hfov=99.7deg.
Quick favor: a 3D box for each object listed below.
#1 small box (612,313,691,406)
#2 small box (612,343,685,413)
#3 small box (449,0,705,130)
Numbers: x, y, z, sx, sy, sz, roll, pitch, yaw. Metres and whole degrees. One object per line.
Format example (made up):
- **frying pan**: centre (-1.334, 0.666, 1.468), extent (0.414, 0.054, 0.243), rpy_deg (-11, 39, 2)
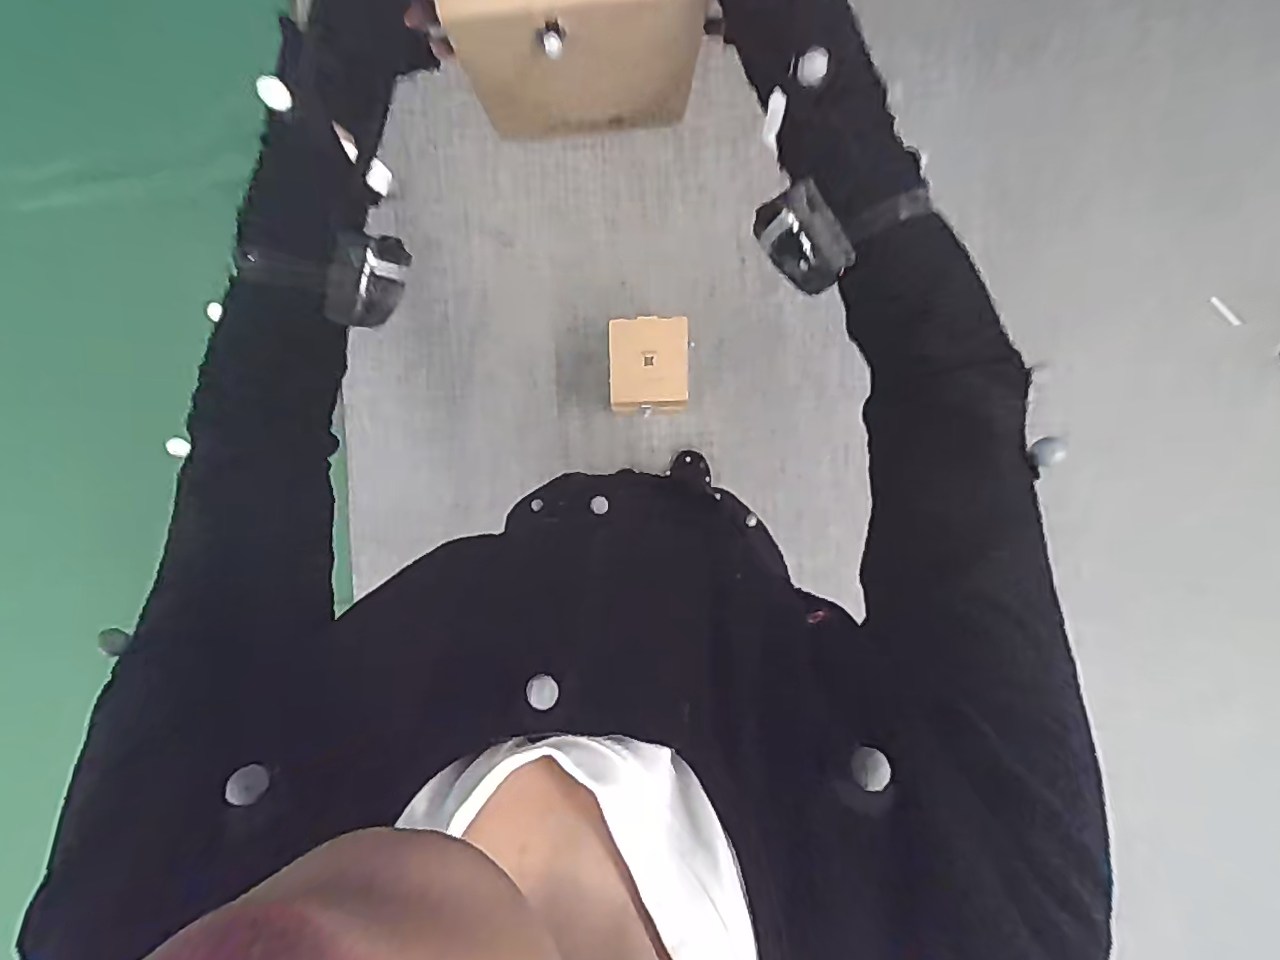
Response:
- **small box**: centre (0.030, -0.262, 1.208), extent (0.168, 0.176, 0.179), rpy_deg (-1, 93, 6)
- **small box**: centre (0.026, -0.261, 1.370), extent (0.179, 0.176, 0.168), rpy_deg (-1, 92, 5)
- **small box**: centre (-0.050, -0.386, 0.380), extent (0.168, 0.176, 0.179), rpy_deg (-6, 98, 0)
